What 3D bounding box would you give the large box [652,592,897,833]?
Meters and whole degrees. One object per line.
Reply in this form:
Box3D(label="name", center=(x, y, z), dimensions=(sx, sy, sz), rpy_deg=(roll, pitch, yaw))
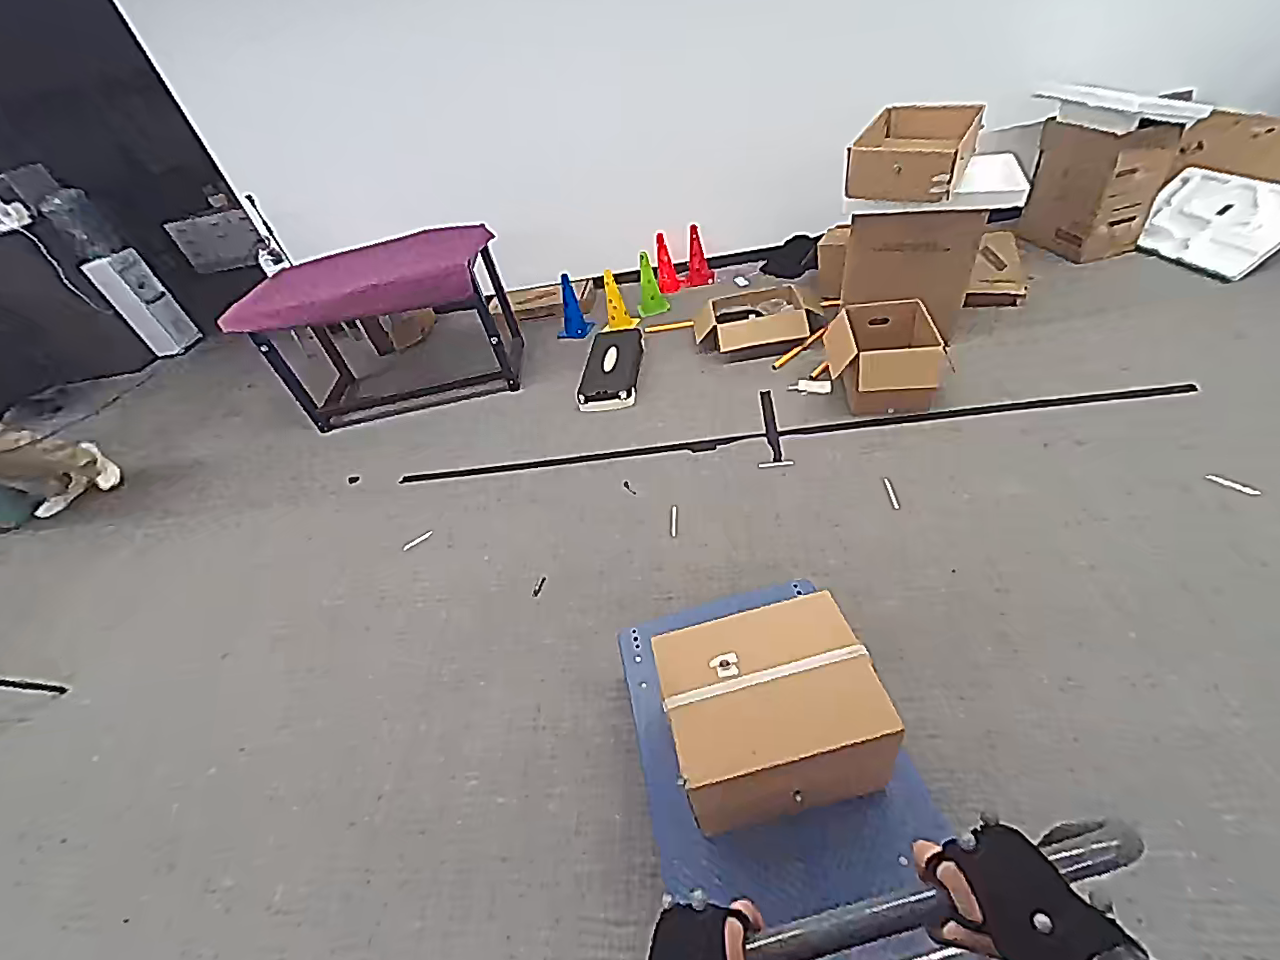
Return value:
Box3D(label="large box", center=(0.275, 0.505, 1.175), dimensions=(0.408, 0.320, 0.320), rpy_deg=(-16, 41, 0))
